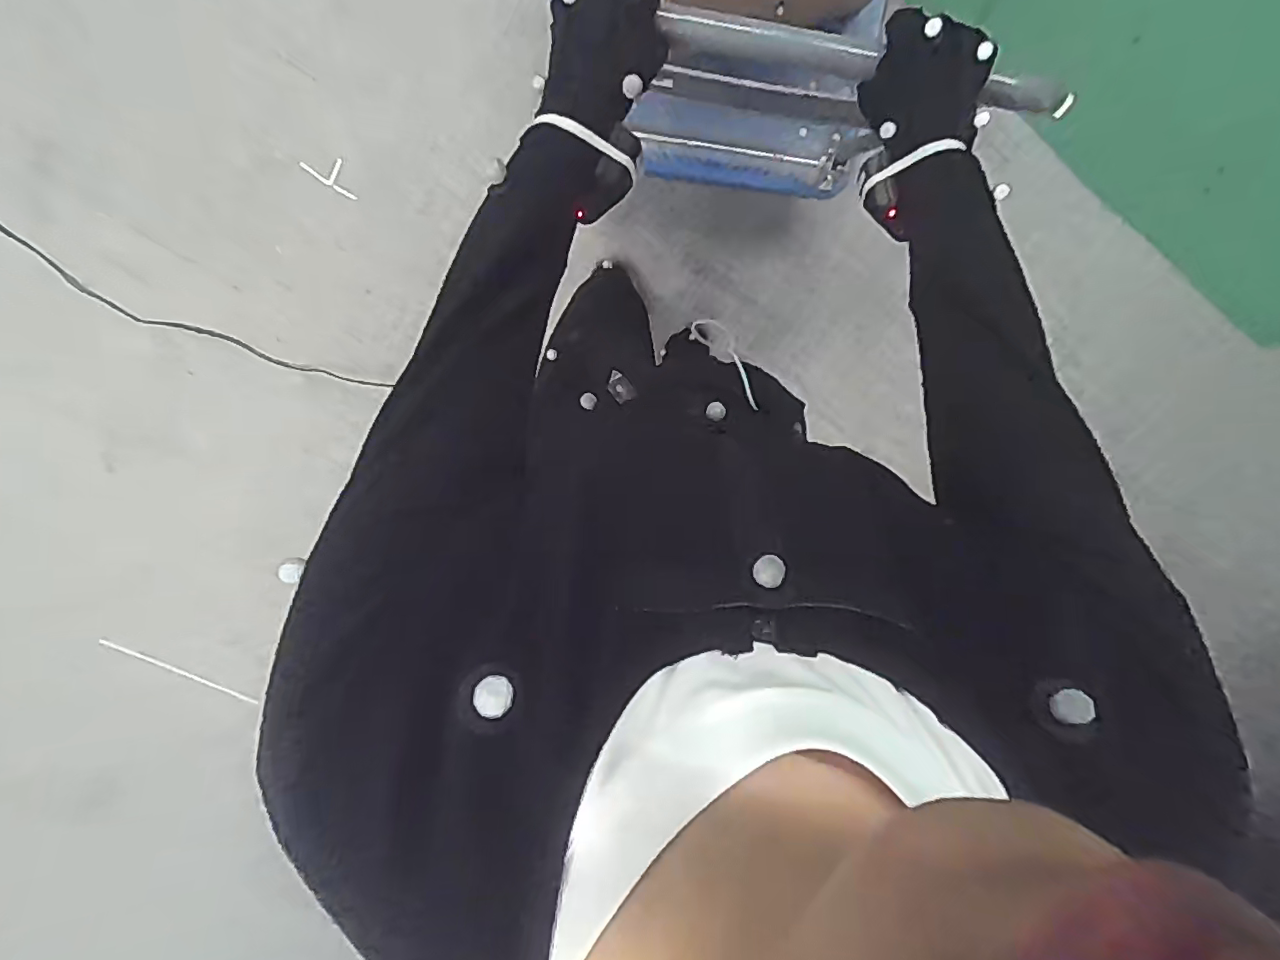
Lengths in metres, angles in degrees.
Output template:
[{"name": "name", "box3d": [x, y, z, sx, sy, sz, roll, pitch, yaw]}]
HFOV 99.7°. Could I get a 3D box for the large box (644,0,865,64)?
[{"name": "large box", "box3d": [0.195, -0.929, 0.843, 0.408, 0.320, 0.320, -13, 109, 3]}]
